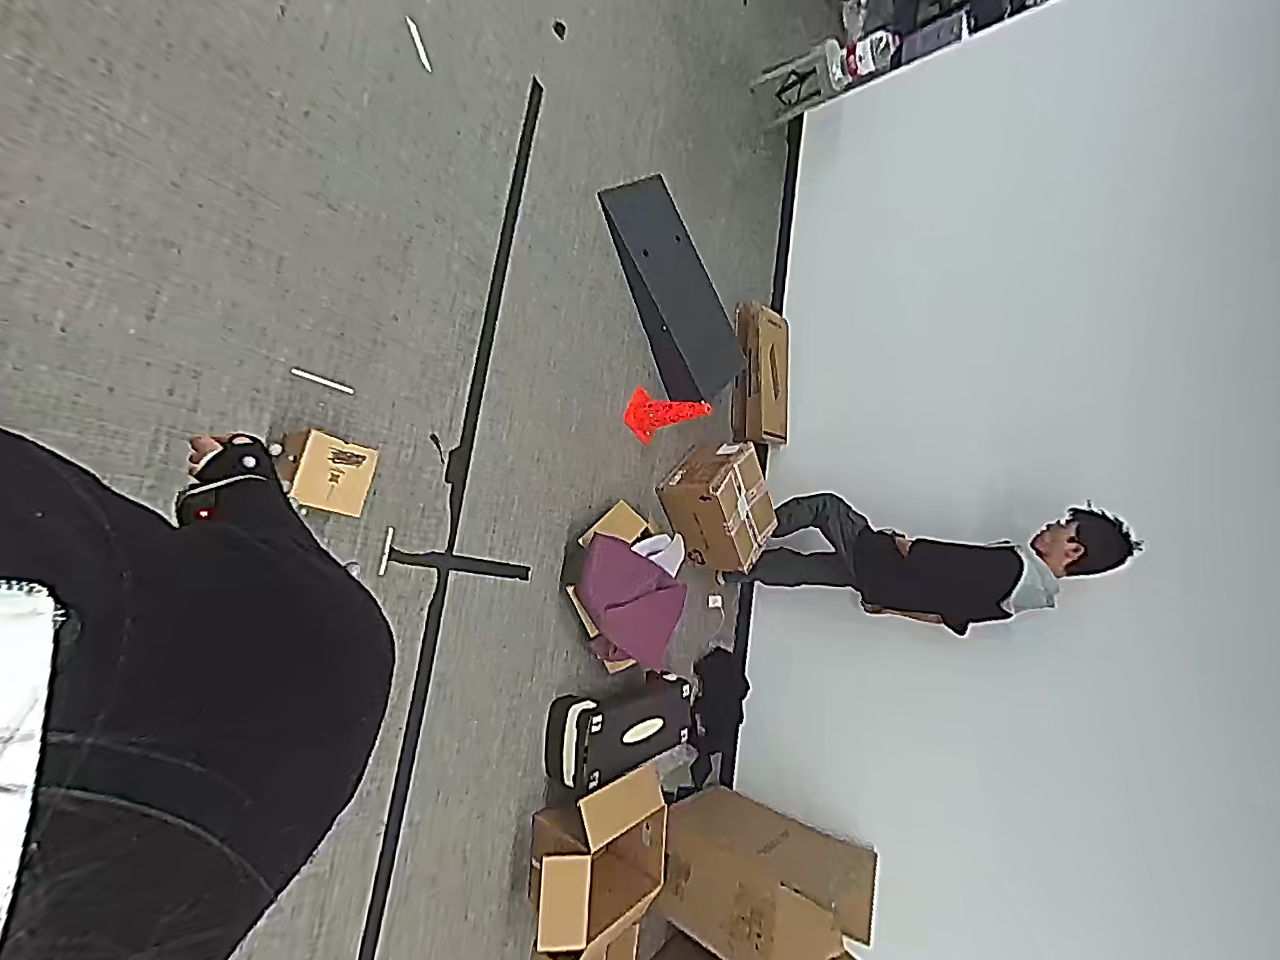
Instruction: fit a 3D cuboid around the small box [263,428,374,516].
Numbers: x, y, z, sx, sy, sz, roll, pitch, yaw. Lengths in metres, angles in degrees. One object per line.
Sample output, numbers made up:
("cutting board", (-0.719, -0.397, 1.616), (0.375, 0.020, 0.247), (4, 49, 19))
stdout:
("small box", (-0.800, -0.016, 1.344), (0.168, 0.176, 0.179), (25, 71, -47))
